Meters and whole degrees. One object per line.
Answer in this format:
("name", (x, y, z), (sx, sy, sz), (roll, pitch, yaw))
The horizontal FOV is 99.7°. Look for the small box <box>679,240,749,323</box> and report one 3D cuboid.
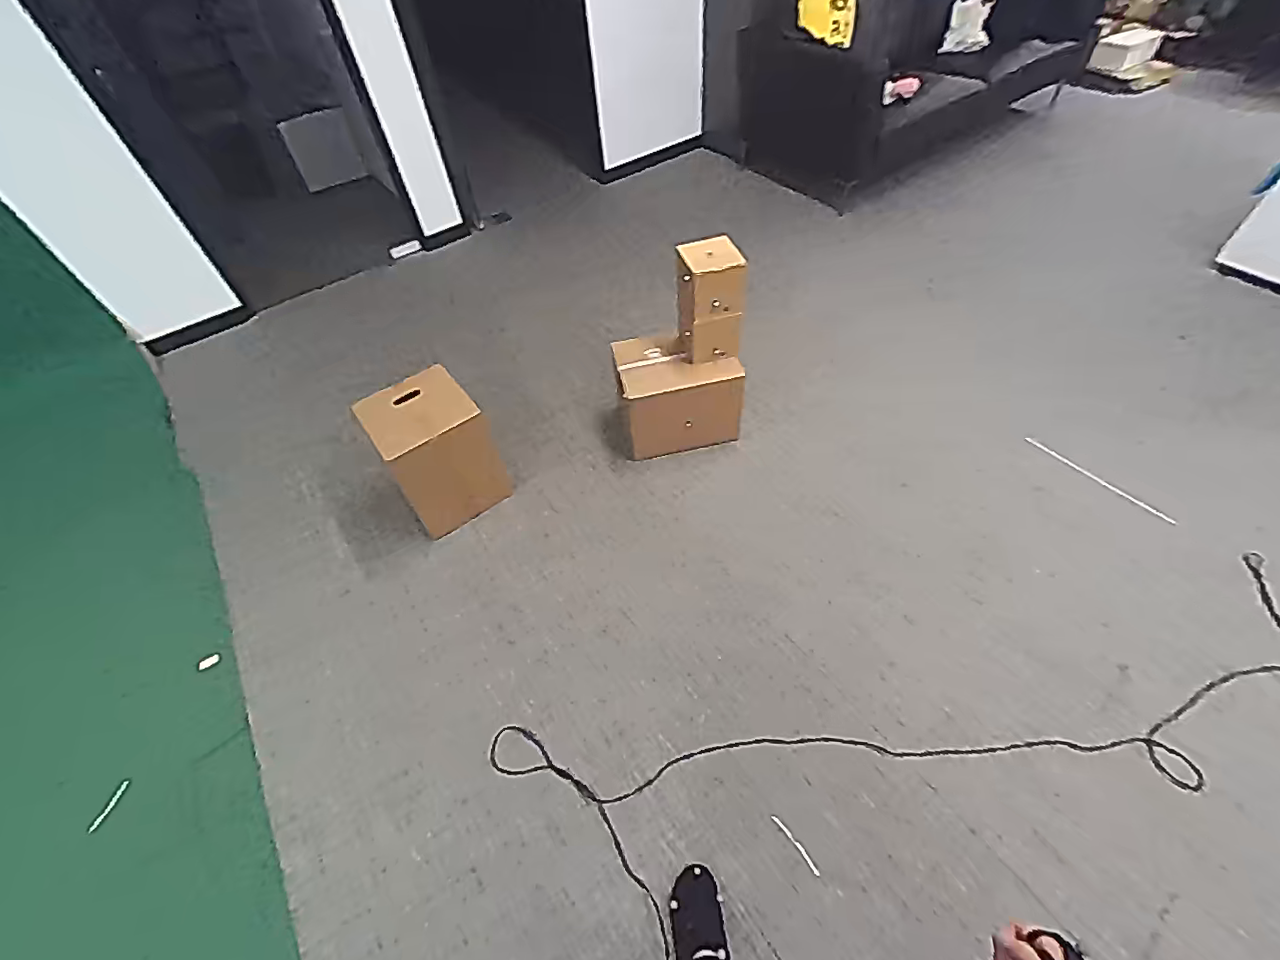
("small box", (0.225, -0.621, 1.692), (0.168, 0.176, 0.179), (-15, 52, -7))
